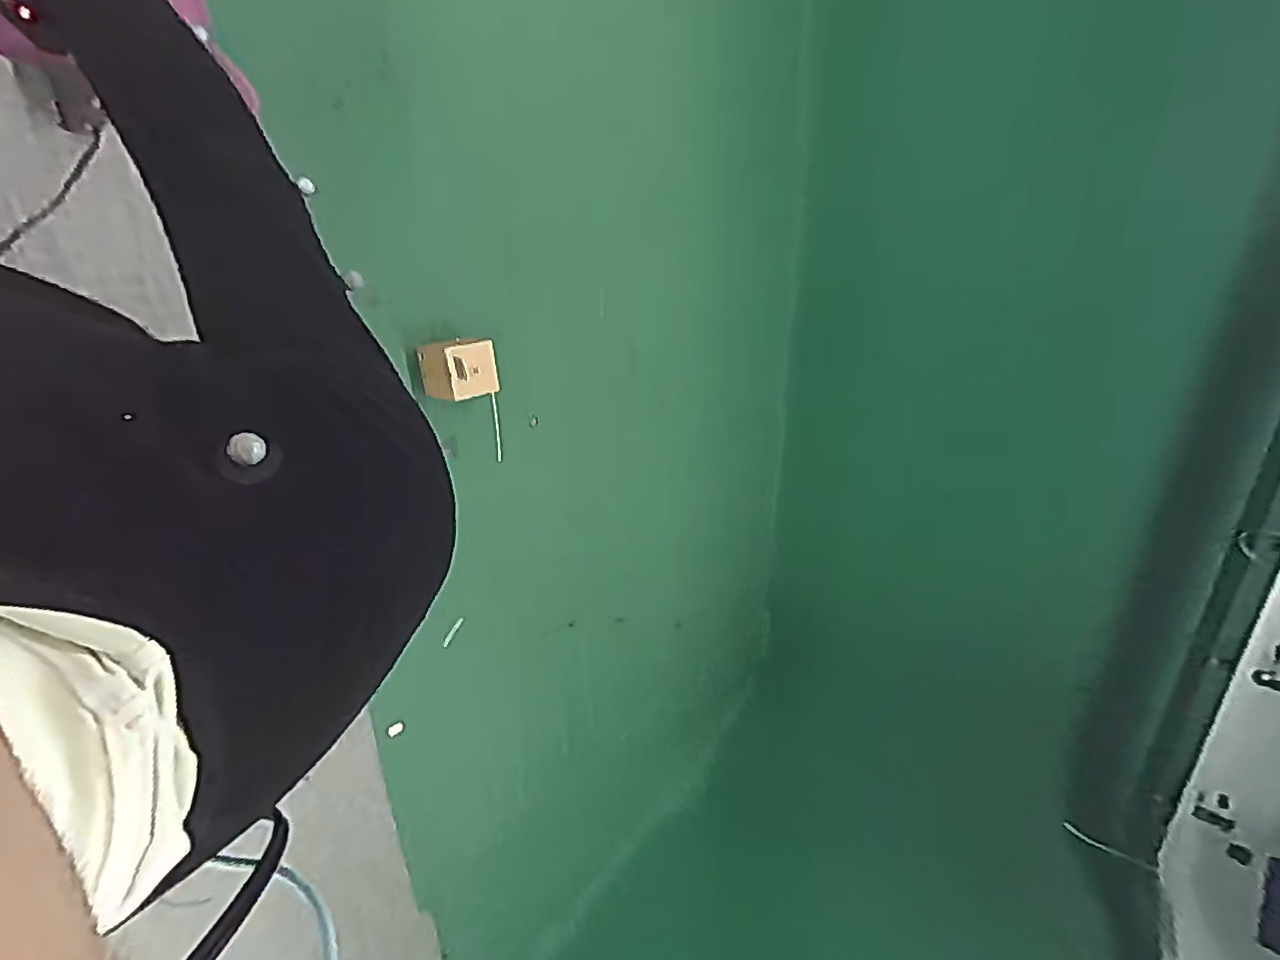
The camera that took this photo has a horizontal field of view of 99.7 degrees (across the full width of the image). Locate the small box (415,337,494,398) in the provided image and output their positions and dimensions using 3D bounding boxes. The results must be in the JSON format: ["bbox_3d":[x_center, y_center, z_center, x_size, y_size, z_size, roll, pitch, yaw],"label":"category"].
[{"bbox_3d":[-0.605,-0.368,1.753,0.179,0.176,0.168,-28,123,-46],"label":"small box"}]
